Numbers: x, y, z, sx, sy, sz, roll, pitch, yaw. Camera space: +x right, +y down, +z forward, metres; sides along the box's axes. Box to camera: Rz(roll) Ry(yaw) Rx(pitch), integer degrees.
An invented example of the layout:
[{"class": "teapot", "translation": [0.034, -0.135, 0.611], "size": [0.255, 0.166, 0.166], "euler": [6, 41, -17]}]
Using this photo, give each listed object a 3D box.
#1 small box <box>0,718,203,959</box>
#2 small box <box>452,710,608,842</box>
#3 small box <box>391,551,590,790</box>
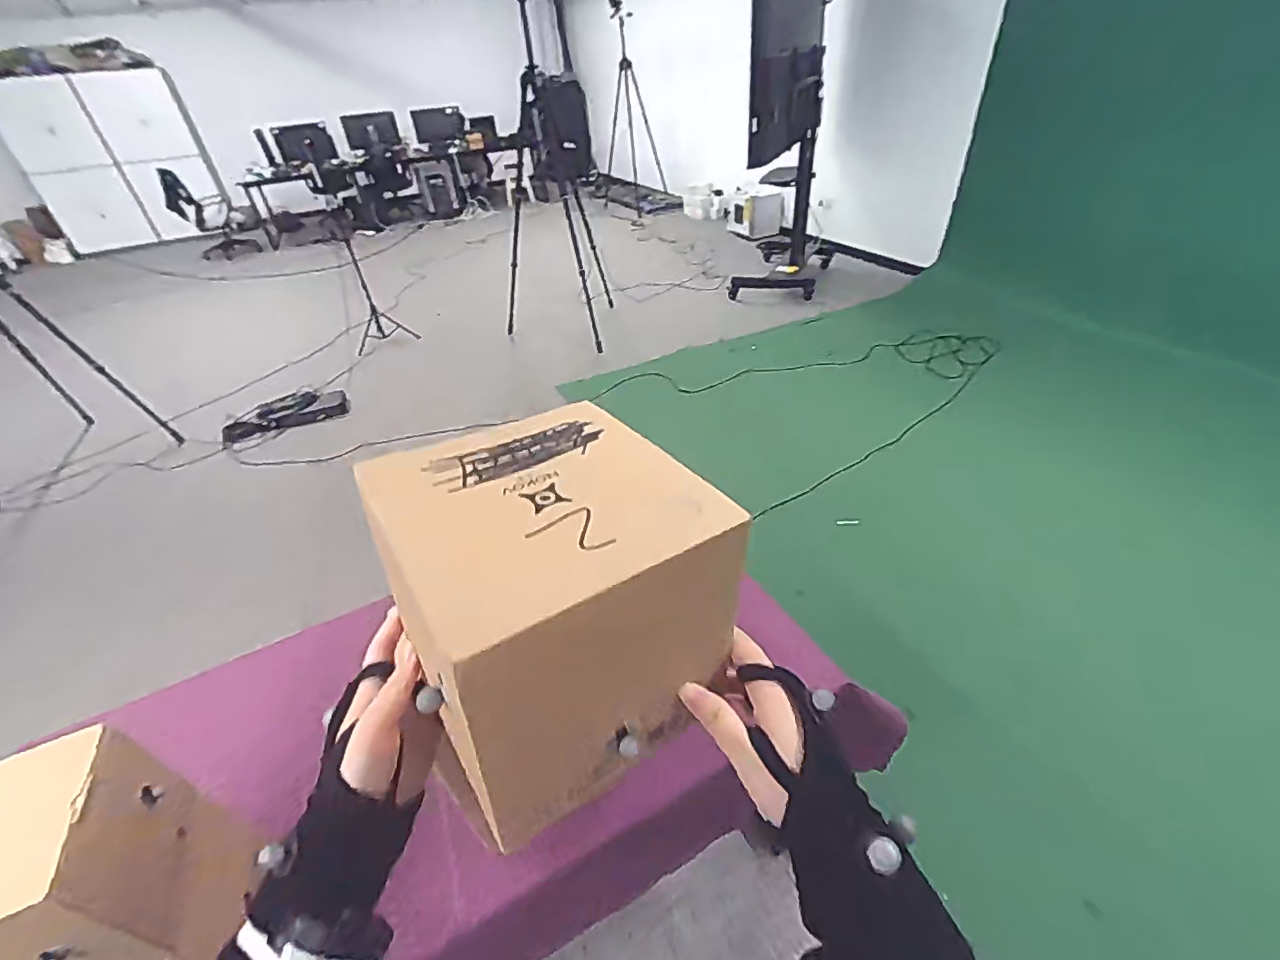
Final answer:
[{"class": "small box", "translation": [-0.561, 0.368, 0.508], "size": [0.179, 0.176, 0.168], "euler": [-20, 40, -16]}, {"class": "small box", "translation": [-0.159, 0.351, 0.743], "size": [0.179, 0.176, 0.168], "euler": [-20, 41, -18]}, {"class": "small box", "translation": [-0.169, 0.223, 0.643], "size": [0.179, 0.176, 0.168], "euler": [-22, 41, -18]}]
